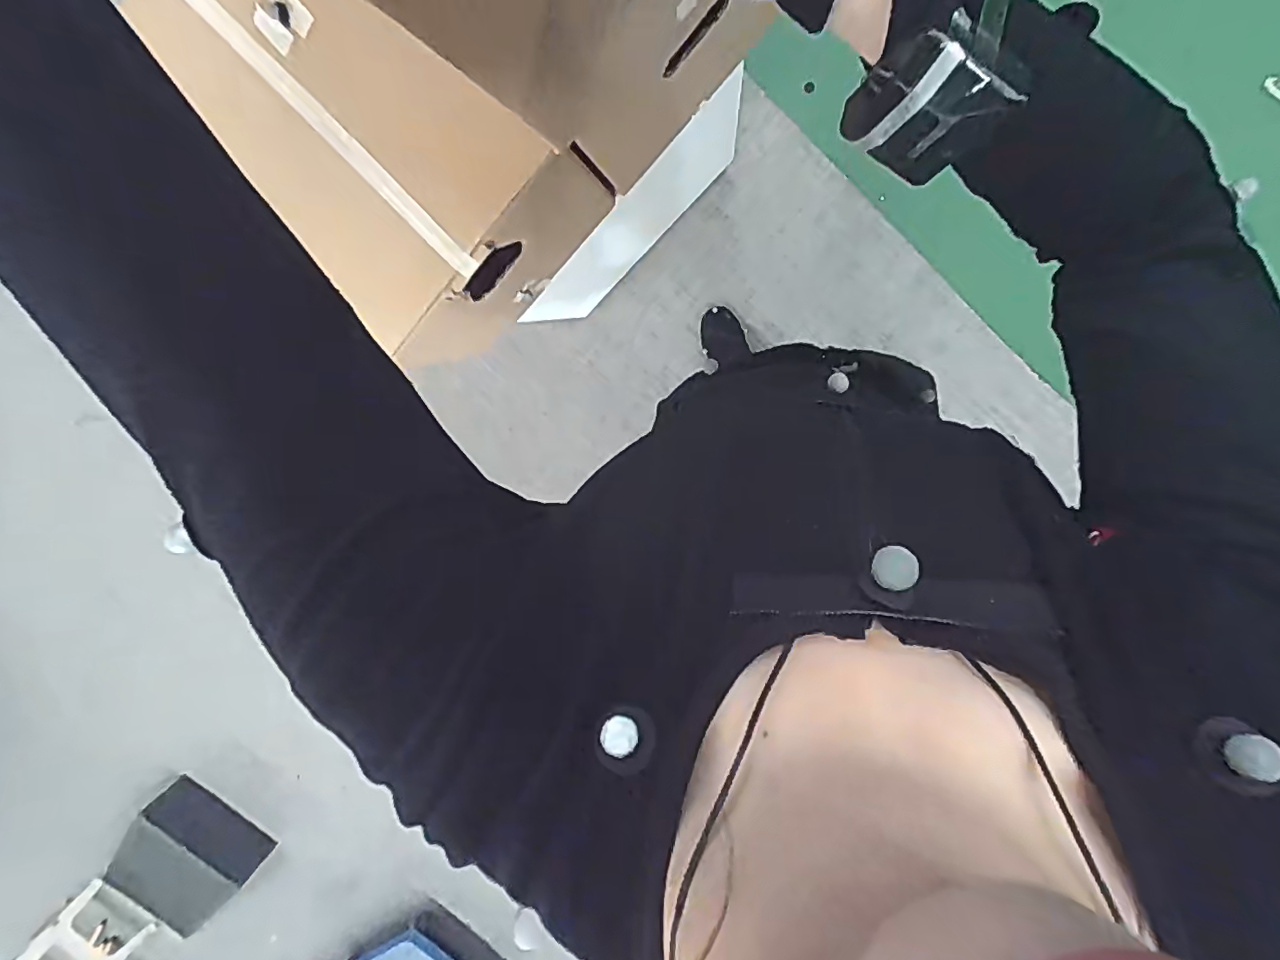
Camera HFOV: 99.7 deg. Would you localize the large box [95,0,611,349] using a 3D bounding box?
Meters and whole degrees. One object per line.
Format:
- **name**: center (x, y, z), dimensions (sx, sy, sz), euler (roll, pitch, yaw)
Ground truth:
- **large box**: center (-0.303, -0.422, 0.676), dimensions (0.320, 0.320, 0.408), euler (-43, 97, 18)
